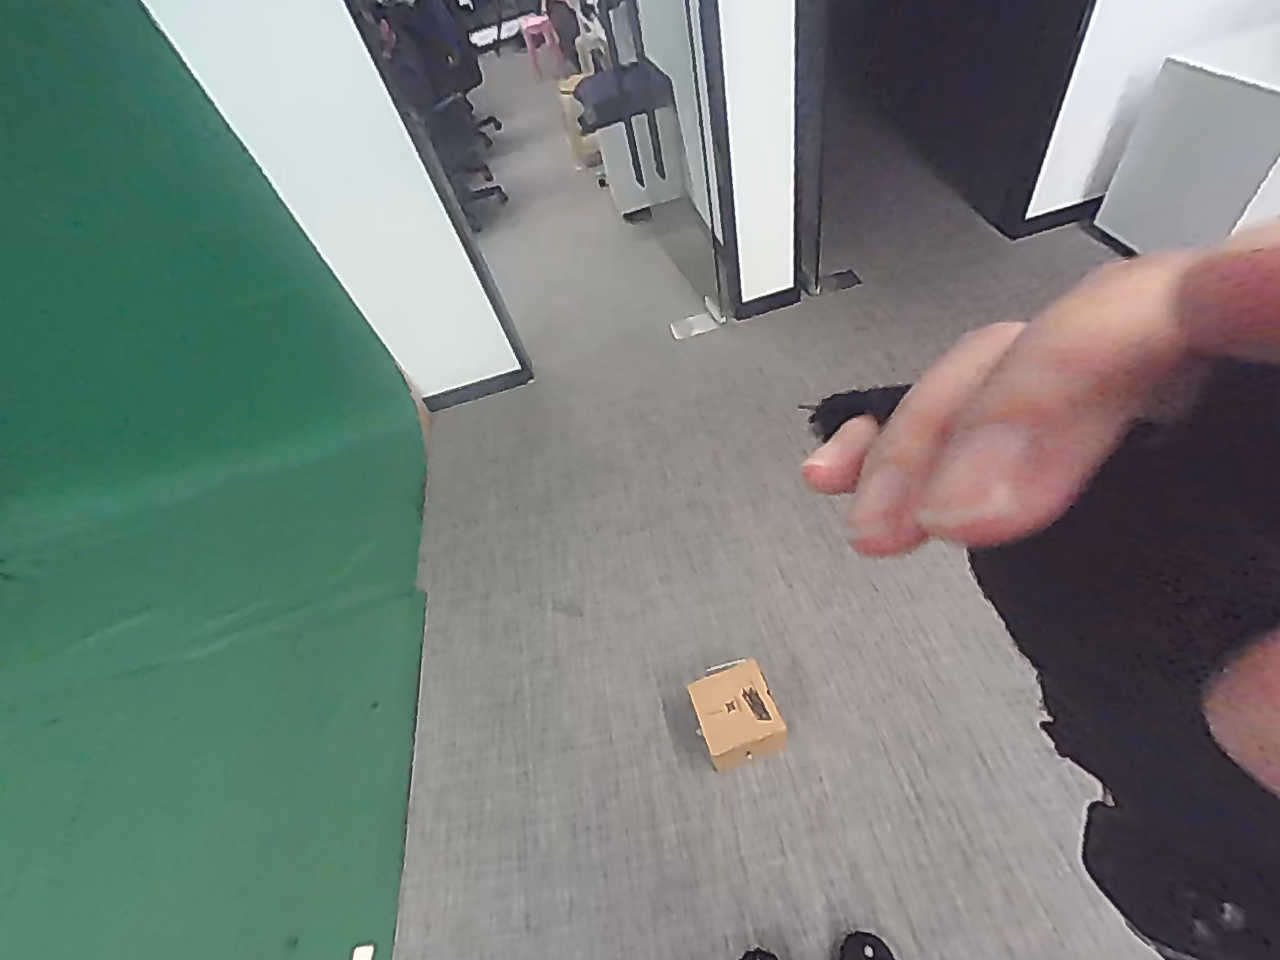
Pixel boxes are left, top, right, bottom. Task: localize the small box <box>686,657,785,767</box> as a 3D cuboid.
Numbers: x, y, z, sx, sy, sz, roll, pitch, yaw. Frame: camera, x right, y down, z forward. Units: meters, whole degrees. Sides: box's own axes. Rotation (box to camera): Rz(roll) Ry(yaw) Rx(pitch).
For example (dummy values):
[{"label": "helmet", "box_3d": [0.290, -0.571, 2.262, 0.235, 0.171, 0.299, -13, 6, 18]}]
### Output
[{"label": "small box", "box_3d": [0.226, 0.551, 1.280, 0.179, 0.176, 0.168, -22, 50, -4]}]
